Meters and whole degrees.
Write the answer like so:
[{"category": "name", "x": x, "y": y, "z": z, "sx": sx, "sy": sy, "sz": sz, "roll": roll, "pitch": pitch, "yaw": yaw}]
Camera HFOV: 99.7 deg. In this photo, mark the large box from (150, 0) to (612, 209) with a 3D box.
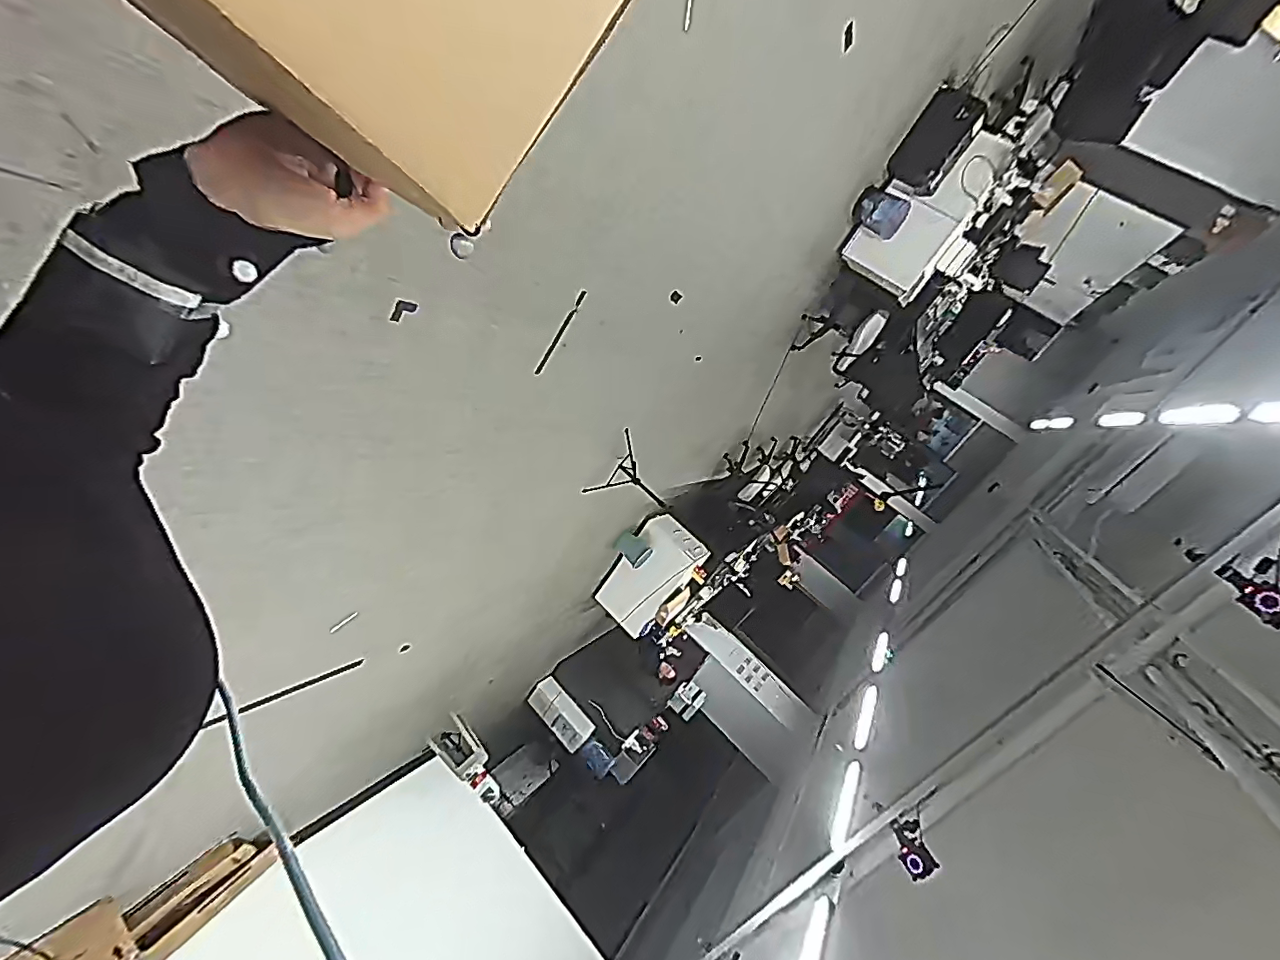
[{"category": "large box", "x": -0.176, "y": -0.366, "z": 0.125, "sx": 0.320, "sy": 0.320, "sz": 0.408, "roll": -53, "pitch": 154, "yaw": 7}]
